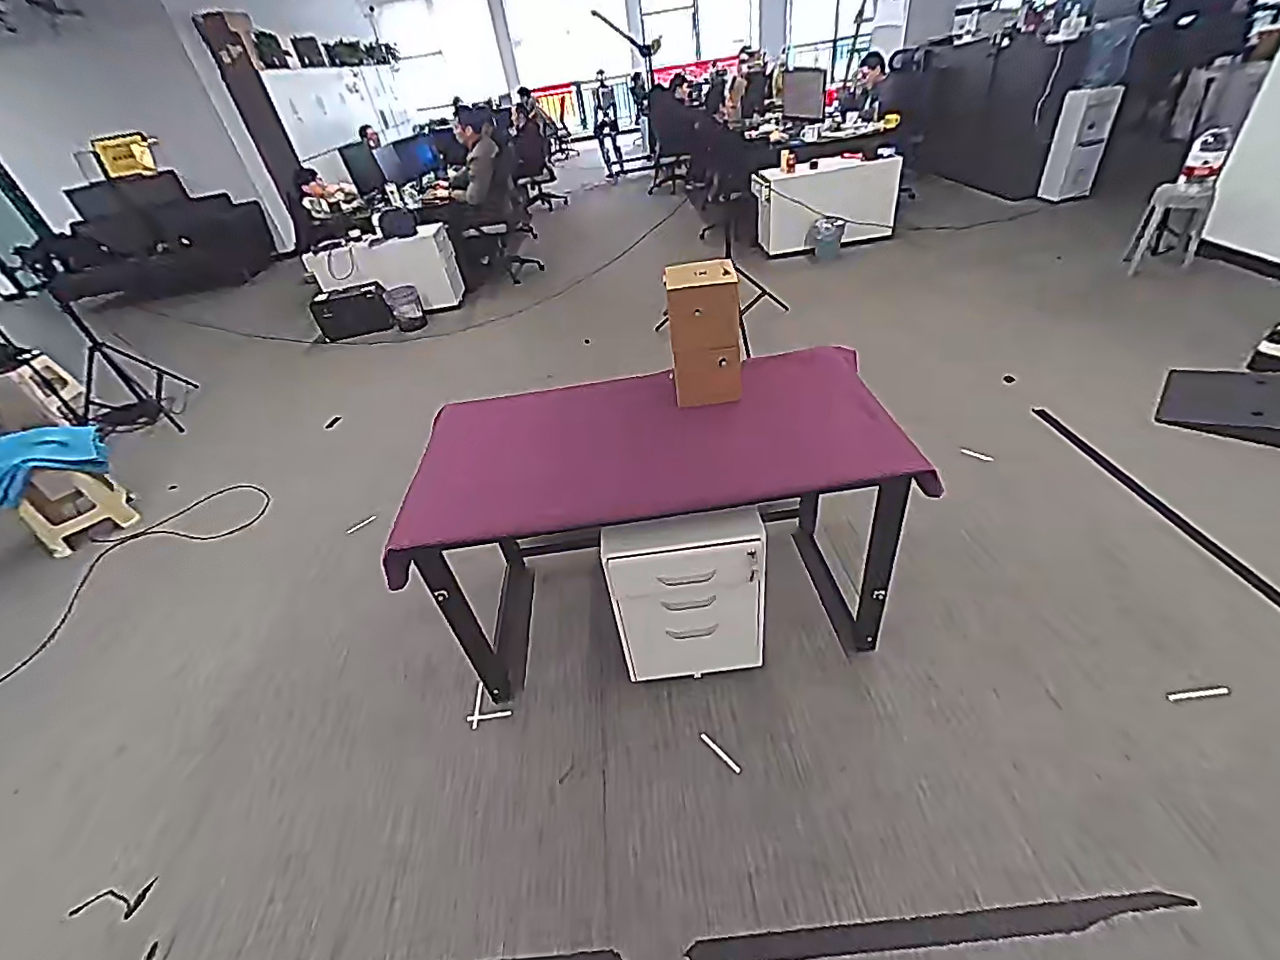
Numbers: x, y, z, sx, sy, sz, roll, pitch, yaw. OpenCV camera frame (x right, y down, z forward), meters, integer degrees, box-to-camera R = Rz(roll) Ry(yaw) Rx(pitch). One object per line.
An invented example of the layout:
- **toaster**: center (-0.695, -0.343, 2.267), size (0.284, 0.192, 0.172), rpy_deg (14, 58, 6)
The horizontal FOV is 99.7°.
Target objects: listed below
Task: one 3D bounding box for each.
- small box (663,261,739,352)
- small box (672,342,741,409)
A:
- **small box**: center (0.158, -0.442, 1.394), size (0.179, 0.176, 0.168), rpy_deg (-6, 40, 6)
- **small box**: center (0.181, -0.315, 1.496), size (0.179, 0.176, 0.168), rpy_deg (-7, 39, 5)
